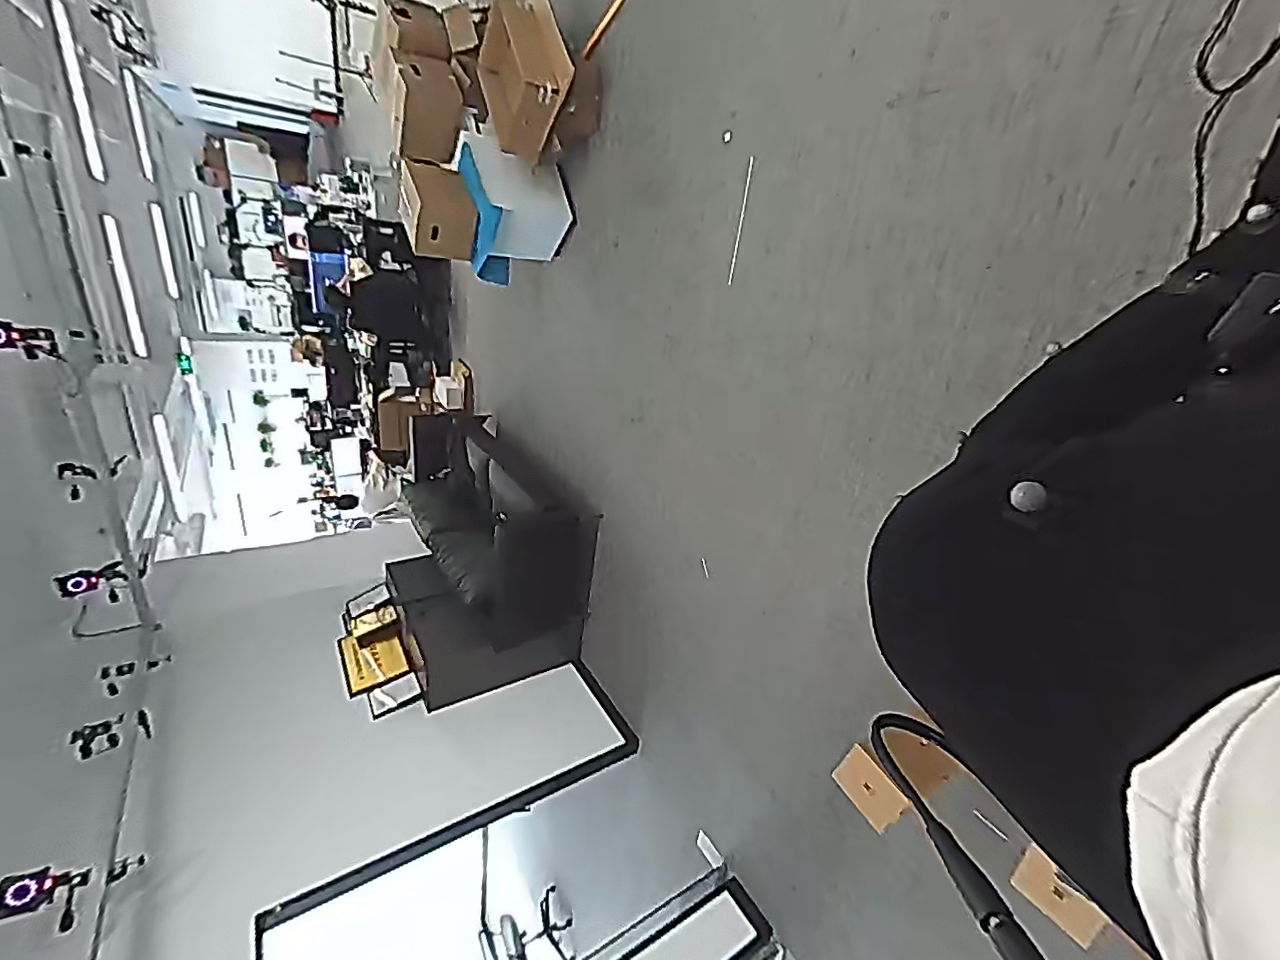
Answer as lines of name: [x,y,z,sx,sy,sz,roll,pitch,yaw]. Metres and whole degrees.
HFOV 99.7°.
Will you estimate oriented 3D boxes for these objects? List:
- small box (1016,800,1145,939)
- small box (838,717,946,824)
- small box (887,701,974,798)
small box: [1.042,0.907,1.278,0.168,0.176,0.179,35,127,49]
small box: [0.695,0.792,1.488,0.179,0.176,0.168,49,135,40]
small box: [0.826,0.777,1.584,0.179,0.176,0.168,44,132,43]
